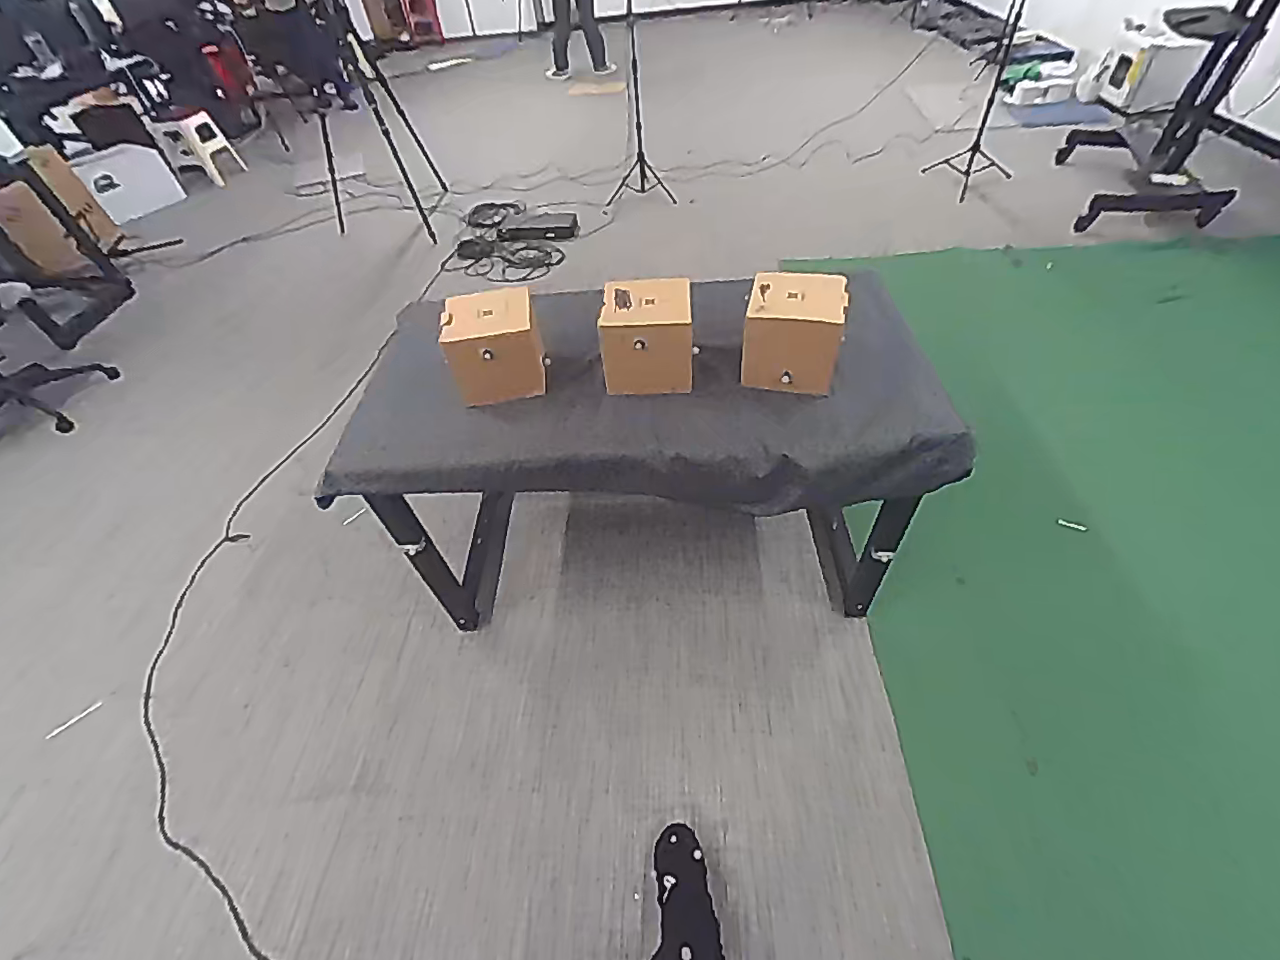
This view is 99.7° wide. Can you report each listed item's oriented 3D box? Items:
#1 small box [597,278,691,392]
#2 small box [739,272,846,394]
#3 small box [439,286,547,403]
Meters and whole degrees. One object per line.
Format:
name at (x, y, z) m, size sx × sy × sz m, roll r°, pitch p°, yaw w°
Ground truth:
small box at (0.015, -0.293, 1.112) m, size 0.179 × 0.176 × 0.168 m, roll -1°, pitch 49°, yaw 4°
small box at (0.301, -0.292, 1.082) m, size 0.179 × 0.176 × 0.168 m, roll 9°, pitch 50°, yaw 13°
small box at (-0.300, -0.279, 1.133) m, size 0.179 × 0.176 × 0.168 m, roll -9°, pitch 50°, yaw -4°
